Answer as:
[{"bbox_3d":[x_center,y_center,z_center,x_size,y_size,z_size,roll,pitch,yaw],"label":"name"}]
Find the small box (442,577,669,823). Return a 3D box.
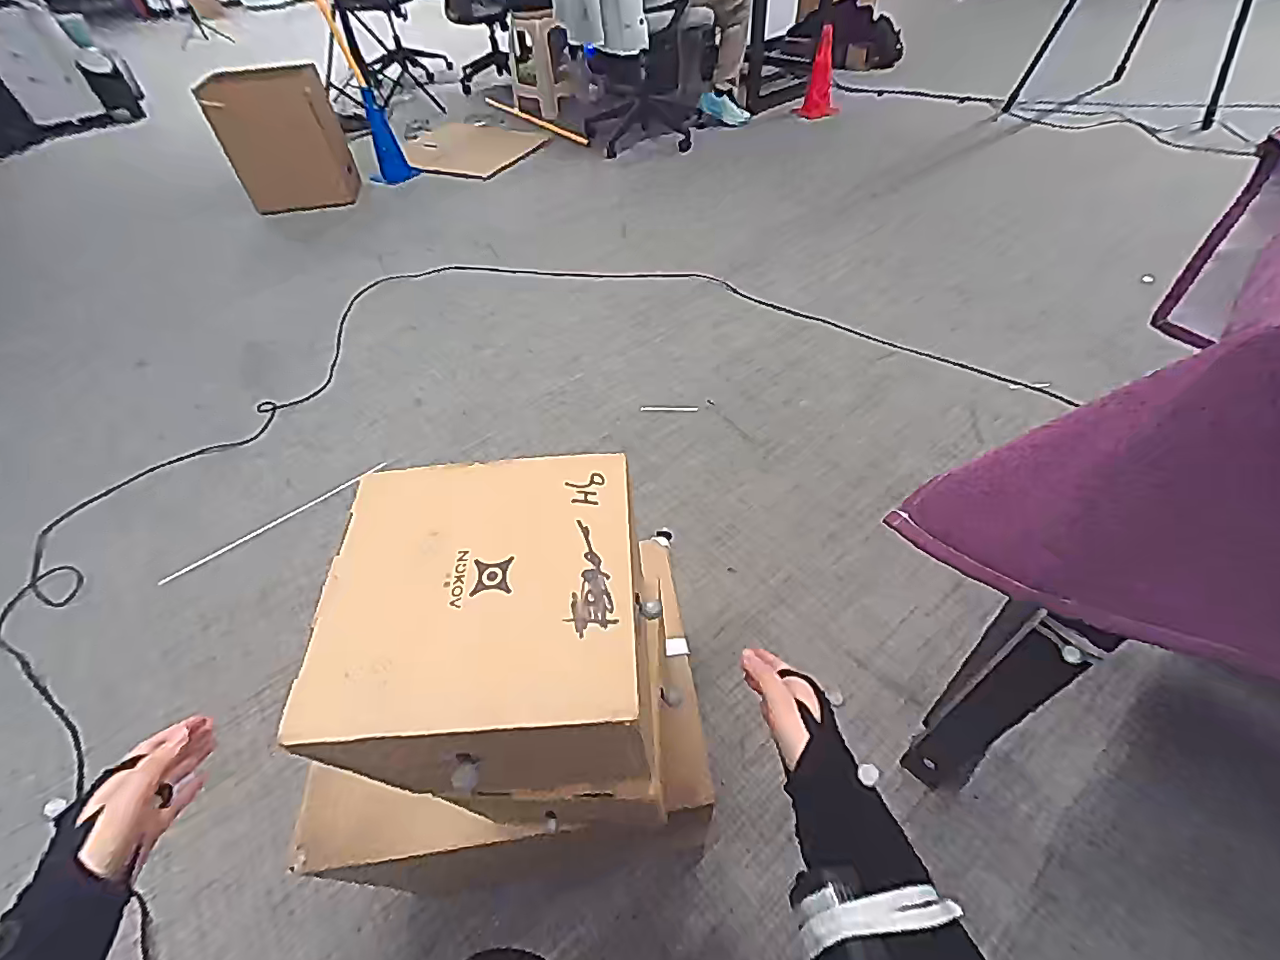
[{"bbox_3d":[-0.059,0.204,0.499,0.168,0.176,0.179,-1,54,4],"label":"small box"}]

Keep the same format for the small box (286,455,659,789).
[{"bbox_3d":[-0.083,0.104,0.369,0.179,0.176,0.168,-5,54,2],"label":"small box"}]
